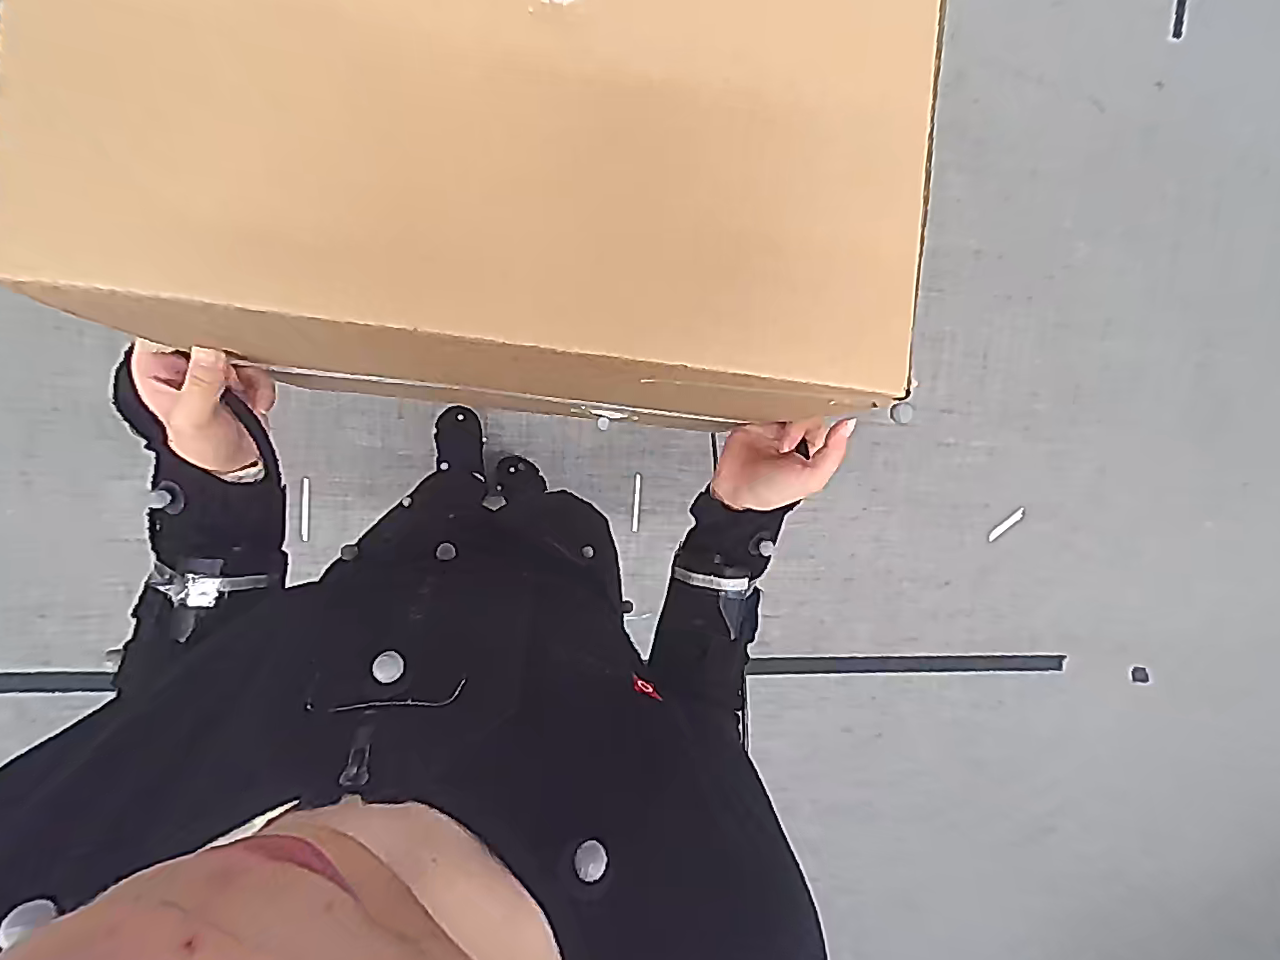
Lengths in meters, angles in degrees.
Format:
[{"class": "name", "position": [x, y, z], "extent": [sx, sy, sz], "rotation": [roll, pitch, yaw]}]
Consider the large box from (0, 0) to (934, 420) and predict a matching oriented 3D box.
[{"class": "large box", "position": [-0.074, -0.227, 0.383], "extent": [0.408, 0.320, 0.320], "rotation": [4, 92, -12]}]
